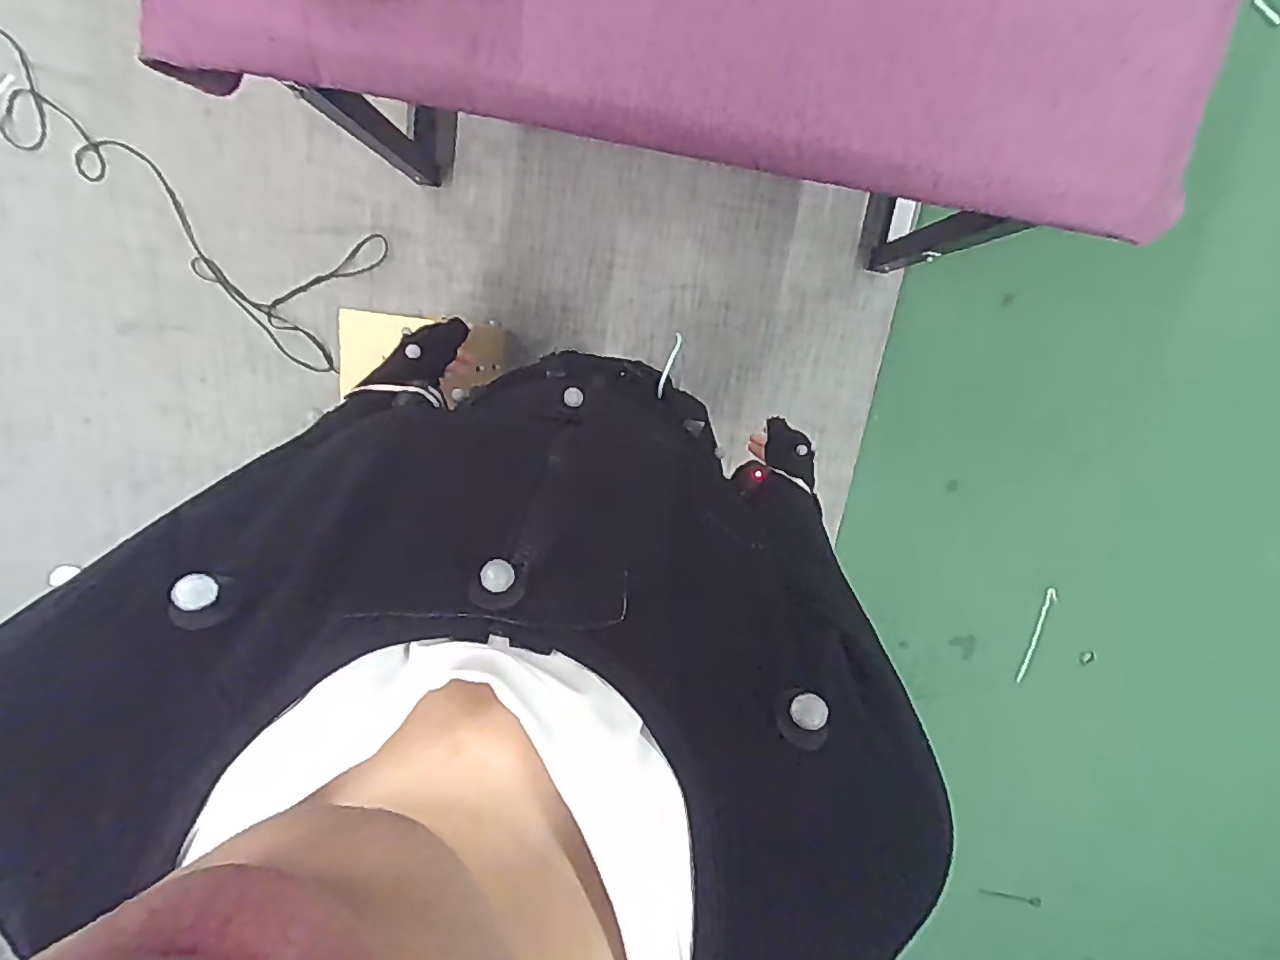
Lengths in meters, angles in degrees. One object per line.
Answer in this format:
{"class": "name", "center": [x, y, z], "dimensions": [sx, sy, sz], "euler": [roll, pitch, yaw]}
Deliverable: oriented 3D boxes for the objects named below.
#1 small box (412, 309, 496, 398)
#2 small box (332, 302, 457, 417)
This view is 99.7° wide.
{"class": "small box", "center": [-0.460, -0.311, 1.328], "dimensions": [0.168, 0.176, 0.179], "euler": [11, 105, -4]}
{"class": "small box", "center": [-0.451, -0.228, 1.011], "dimensions": [0.168, 0.176, 0.179], "euler": [8, 106, -3]}
